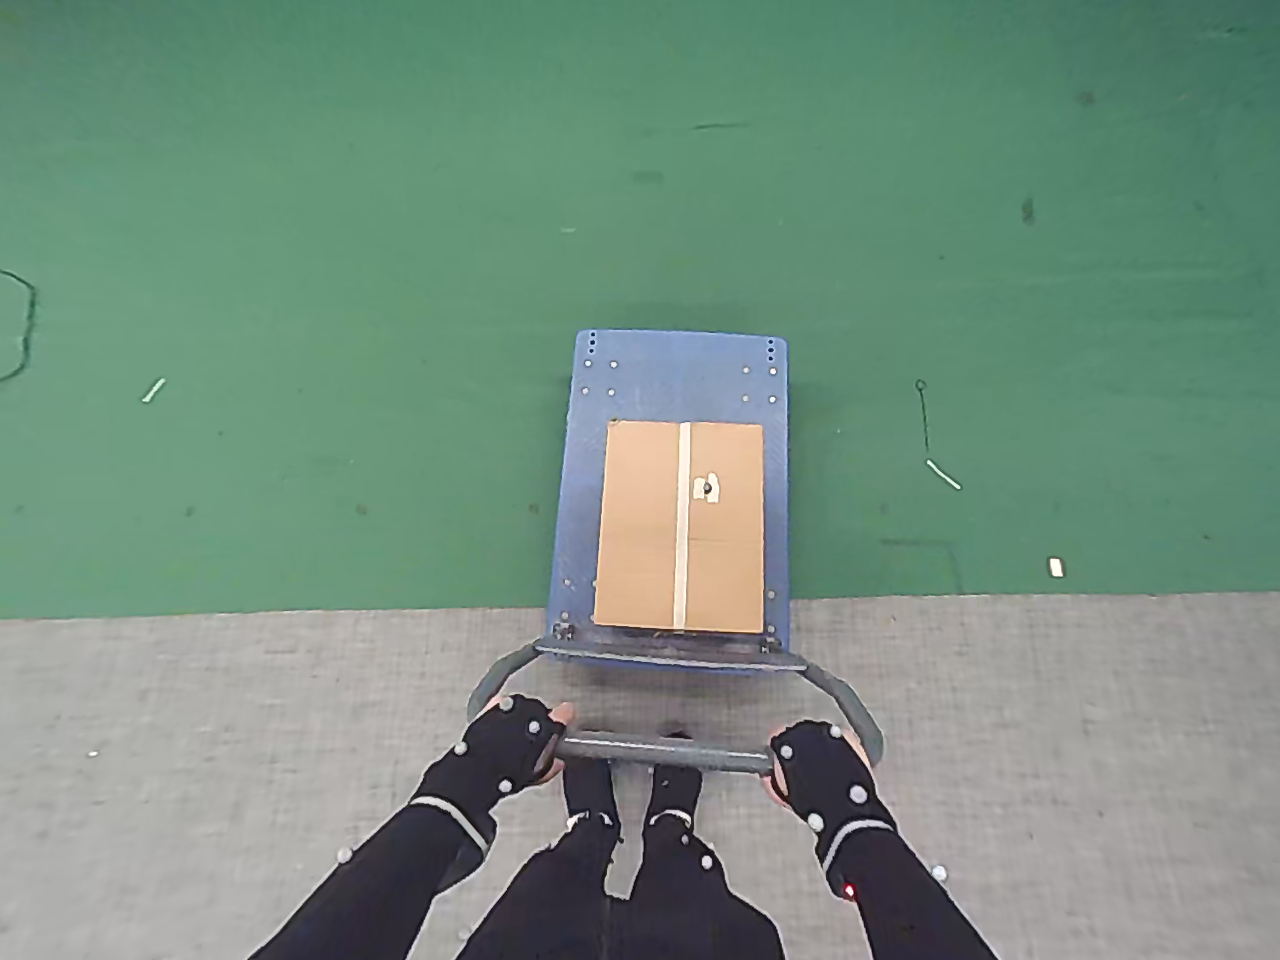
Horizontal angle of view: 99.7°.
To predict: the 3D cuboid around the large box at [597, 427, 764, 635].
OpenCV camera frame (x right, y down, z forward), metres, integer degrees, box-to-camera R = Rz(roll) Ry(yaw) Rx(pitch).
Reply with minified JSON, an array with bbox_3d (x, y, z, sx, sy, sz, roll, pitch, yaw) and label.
[{"bbox_3d":[0.089,0.127,1.184,0.320,0.320,0.408,3,75,3],"label":"large box"}]
